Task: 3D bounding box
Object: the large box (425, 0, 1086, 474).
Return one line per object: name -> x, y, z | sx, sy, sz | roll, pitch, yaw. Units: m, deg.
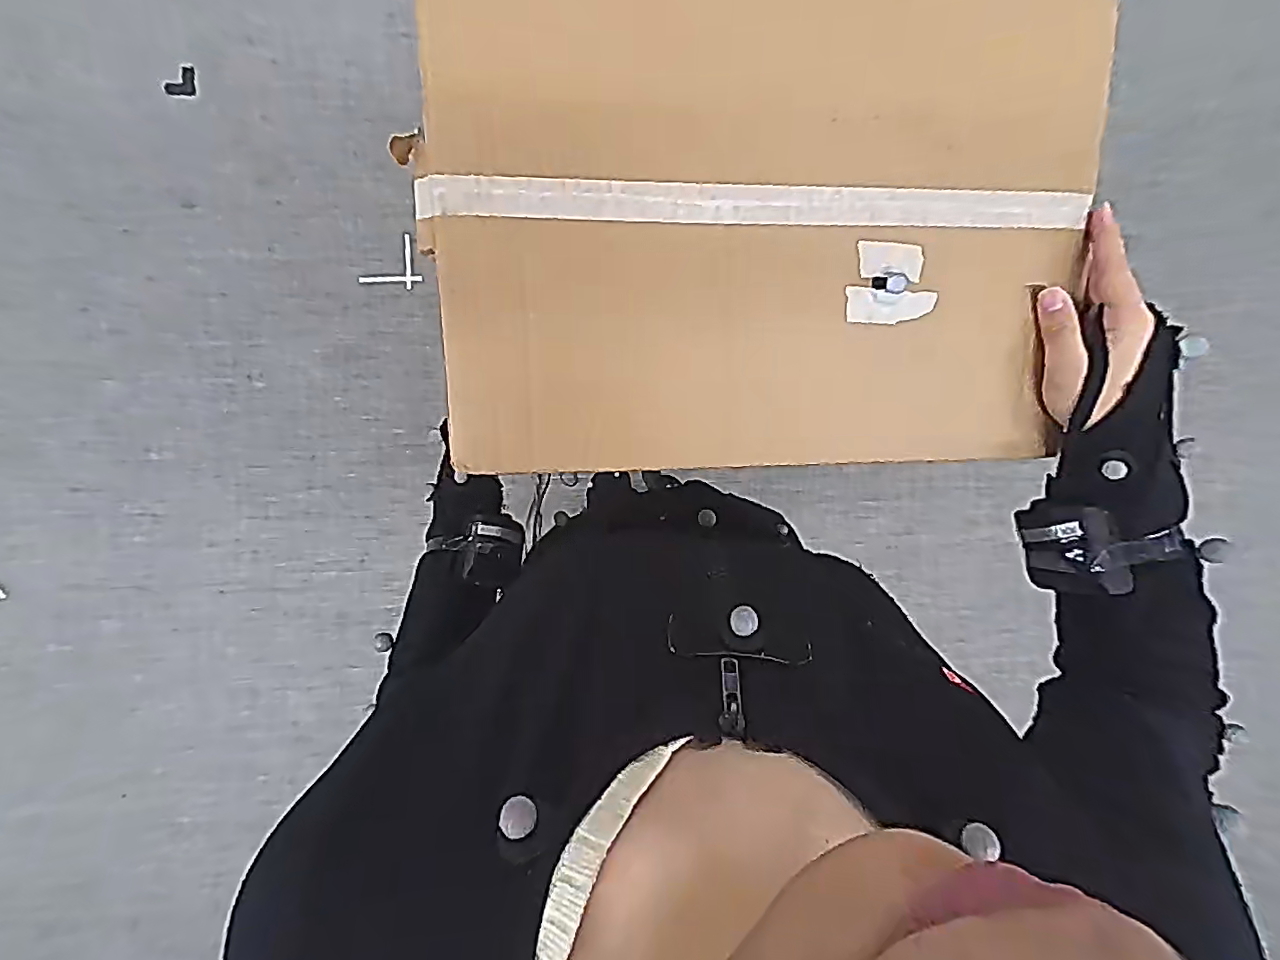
large box -> 0.062, -0.191, 0.478 | 0.408, 0.320, 0.320 | -3, 101, -8
